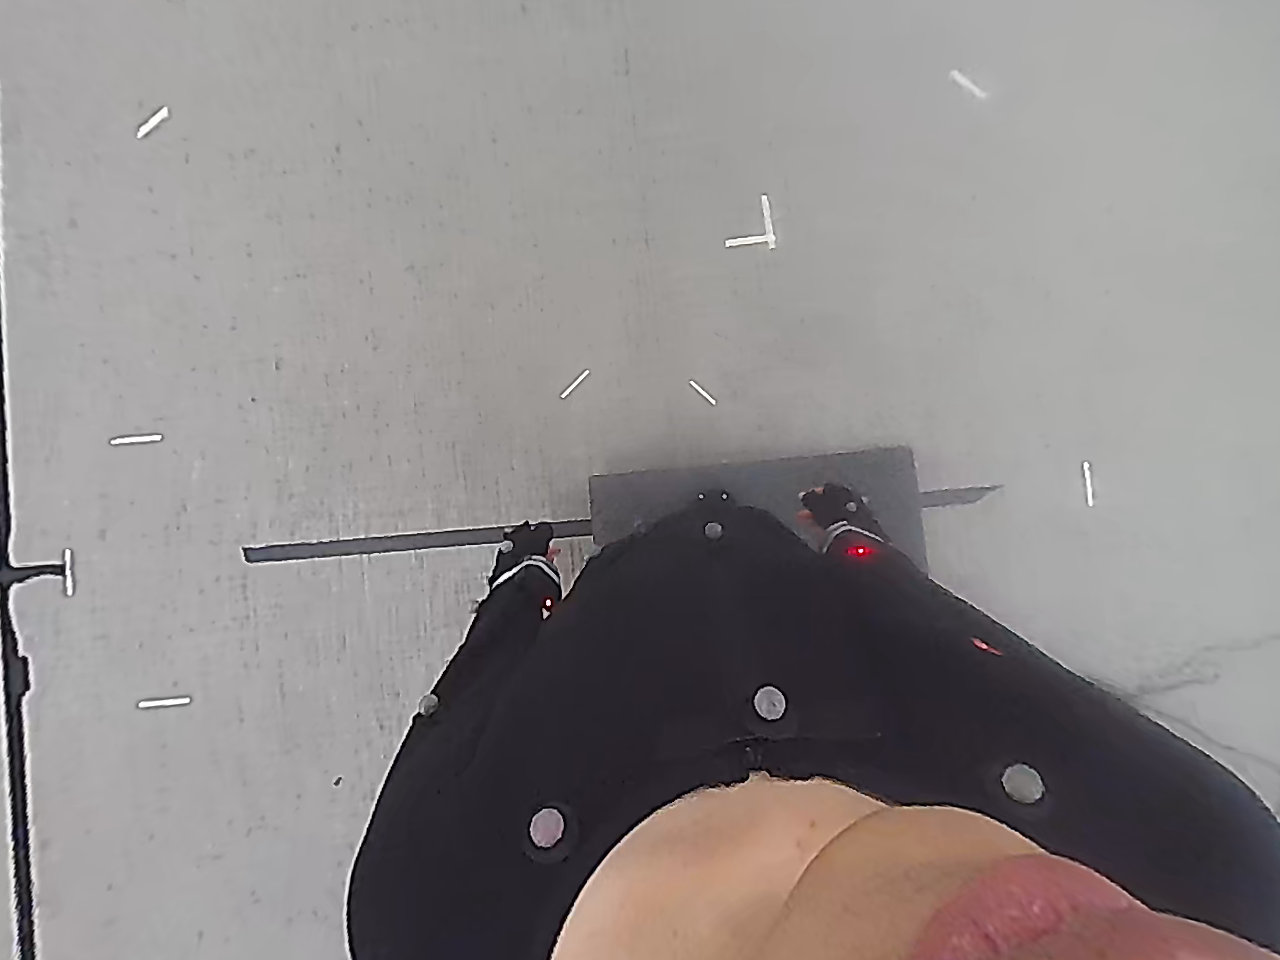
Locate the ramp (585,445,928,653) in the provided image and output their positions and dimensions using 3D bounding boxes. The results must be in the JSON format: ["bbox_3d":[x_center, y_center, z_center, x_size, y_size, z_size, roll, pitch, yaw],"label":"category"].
[{"bbox_3d":[0.358,0.177,1.562,0.991,0.206,0.509,-8,86,-1],"label":"ramp"}]
